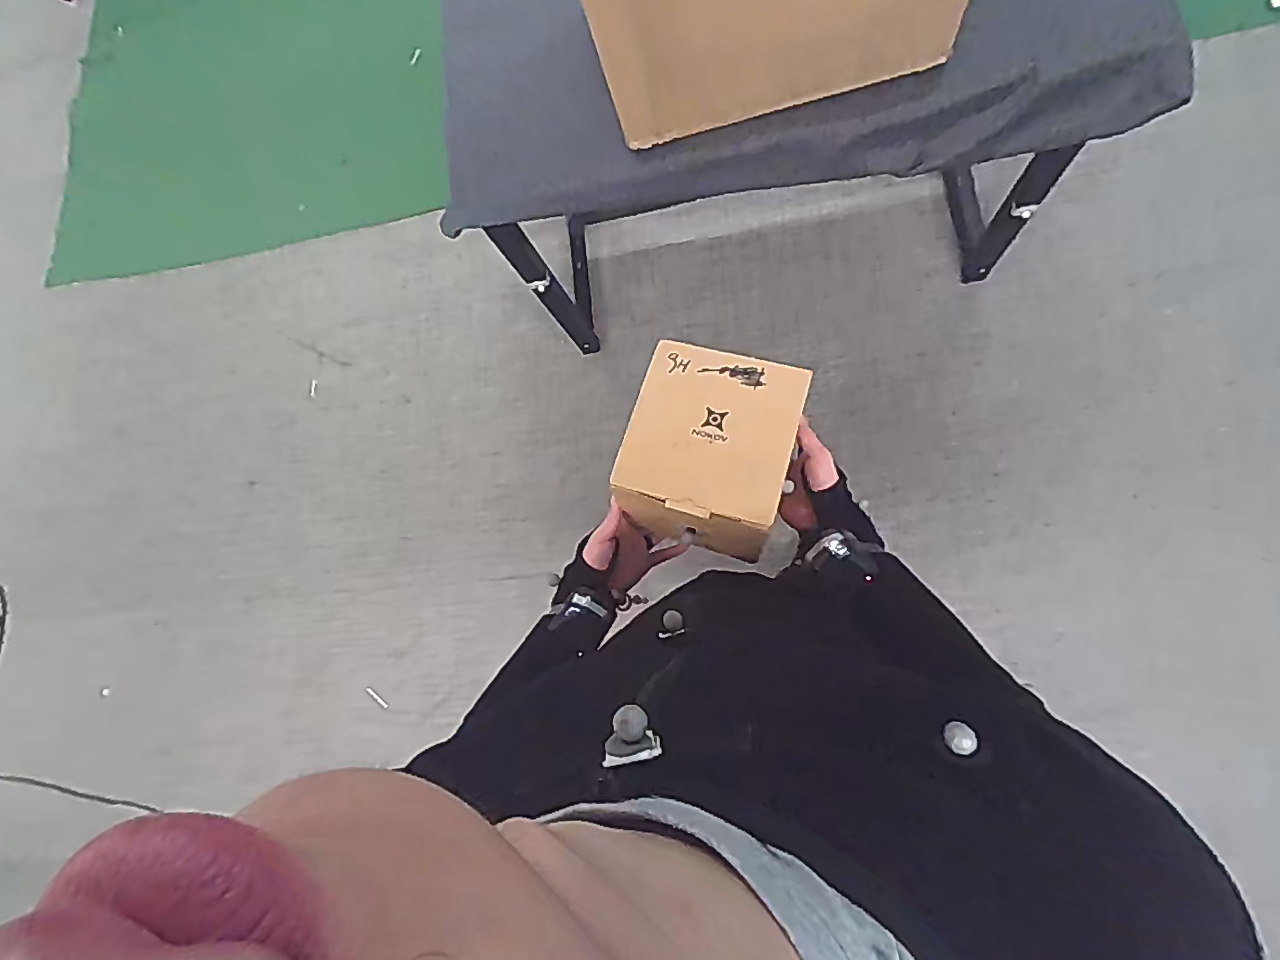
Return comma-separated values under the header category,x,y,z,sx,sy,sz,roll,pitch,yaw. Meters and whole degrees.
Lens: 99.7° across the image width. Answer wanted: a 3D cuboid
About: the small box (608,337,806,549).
category,x,y,z,sx,sy,sz,roll,pitch,yaw
small box,0.079,-0.031,0.621,0.168,0.176,0.179,15,74,12
